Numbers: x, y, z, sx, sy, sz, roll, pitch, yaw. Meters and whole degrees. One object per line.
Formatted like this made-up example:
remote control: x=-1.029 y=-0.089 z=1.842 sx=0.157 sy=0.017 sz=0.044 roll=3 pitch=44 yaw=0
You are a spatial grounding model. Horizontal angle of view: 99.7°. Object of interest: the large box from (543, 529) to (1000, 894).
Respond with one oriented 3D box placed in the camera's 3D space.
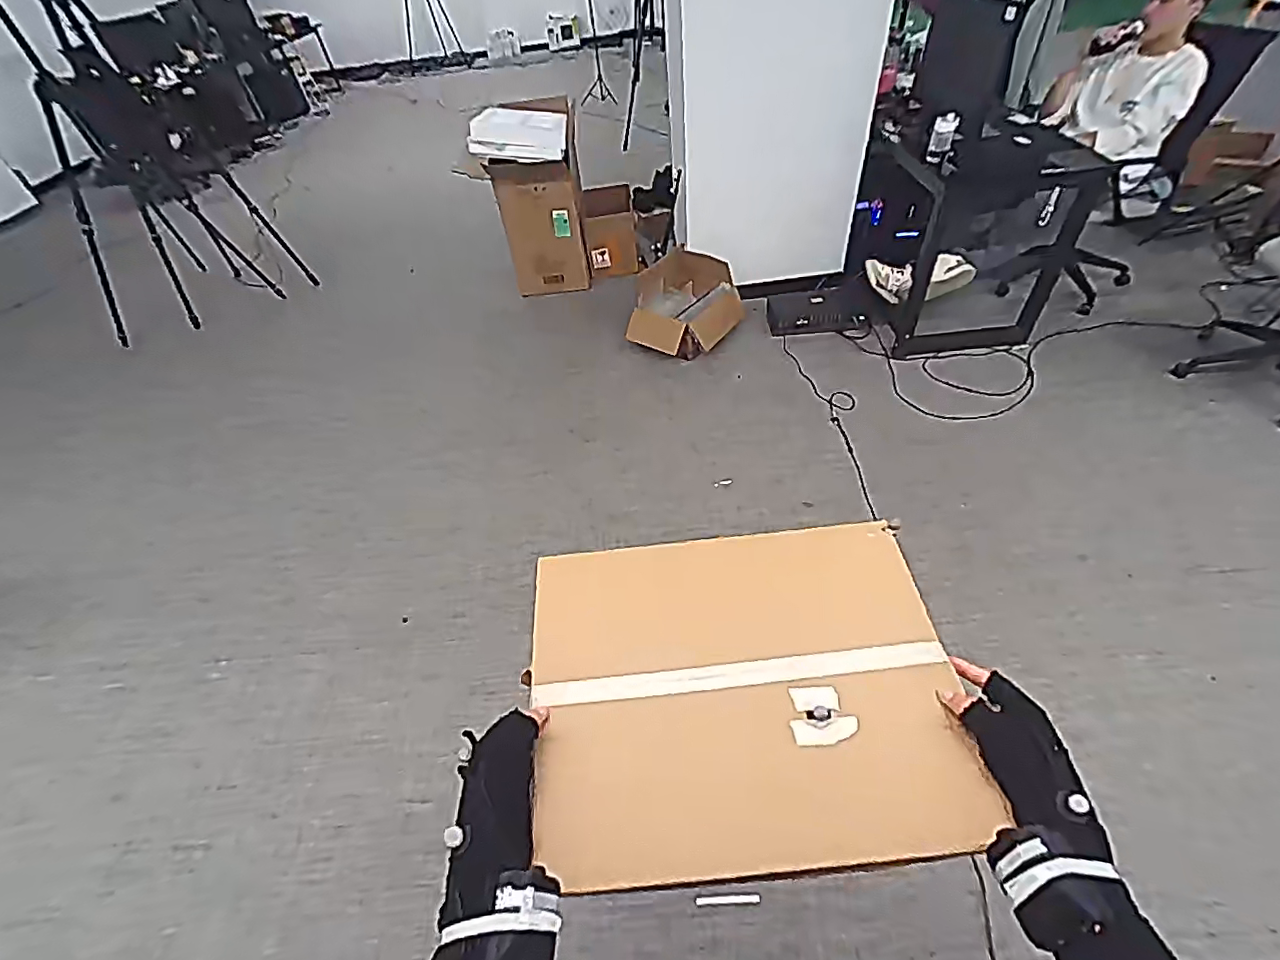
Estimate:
large box: x=0.107 y=0.292 z=0.665 sx=0.408 sy=0.320 sz=0.320 roll=-6 pitch=53 yaw=0
